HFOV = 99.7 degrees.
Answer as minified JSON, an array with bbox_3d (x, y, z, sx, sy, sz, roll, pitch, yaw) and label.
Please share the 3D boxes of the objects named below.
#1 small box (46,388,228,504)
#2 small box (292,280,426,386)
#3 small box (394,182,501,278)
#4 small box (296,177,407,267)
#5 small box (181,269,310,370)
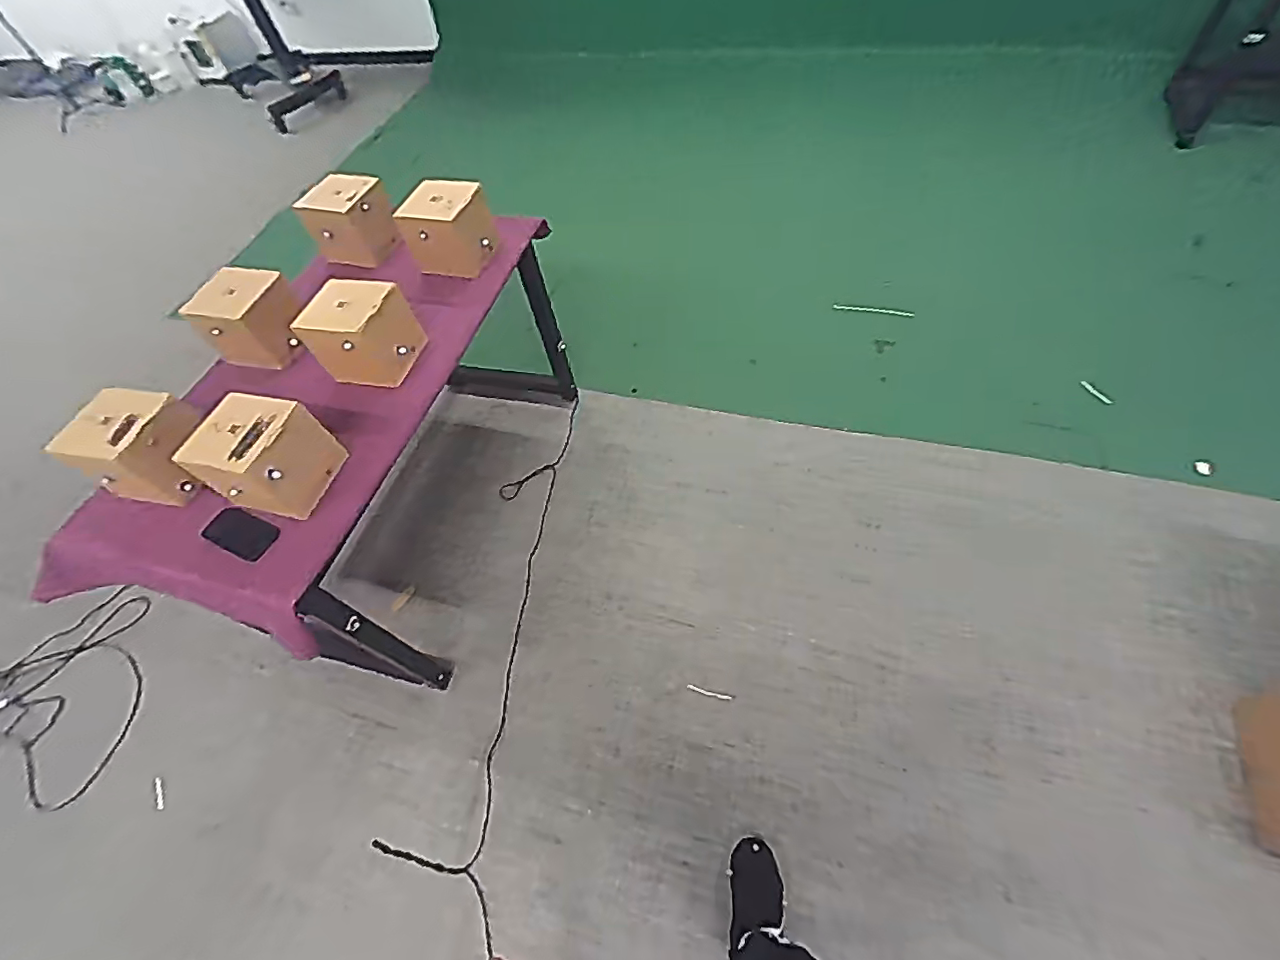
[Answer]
[{"bbox_3d":[-1.010,-0.066,1.107,0.179,0.176,0.168,6,57,13],"label":"small box"},{"bbox_3d":[-0.629,-0.333,1.234,0.179,0.176,0.168,8,58,14],"label":"small box"},{"bbox_3d":[-0.499,-0.658,1.428,0.179,0.176,0.168,12,61,15],"label":"small box"},{"bbox_3d":[-0.799,-0.719,1.514,0.179,0.176,0.168,12,60,16],"label":"small box"},{"bbox_3d":[-0.932,-0.387,1.313,0.179,0.176,0.168,10,59,13],"label":"small box"}]
